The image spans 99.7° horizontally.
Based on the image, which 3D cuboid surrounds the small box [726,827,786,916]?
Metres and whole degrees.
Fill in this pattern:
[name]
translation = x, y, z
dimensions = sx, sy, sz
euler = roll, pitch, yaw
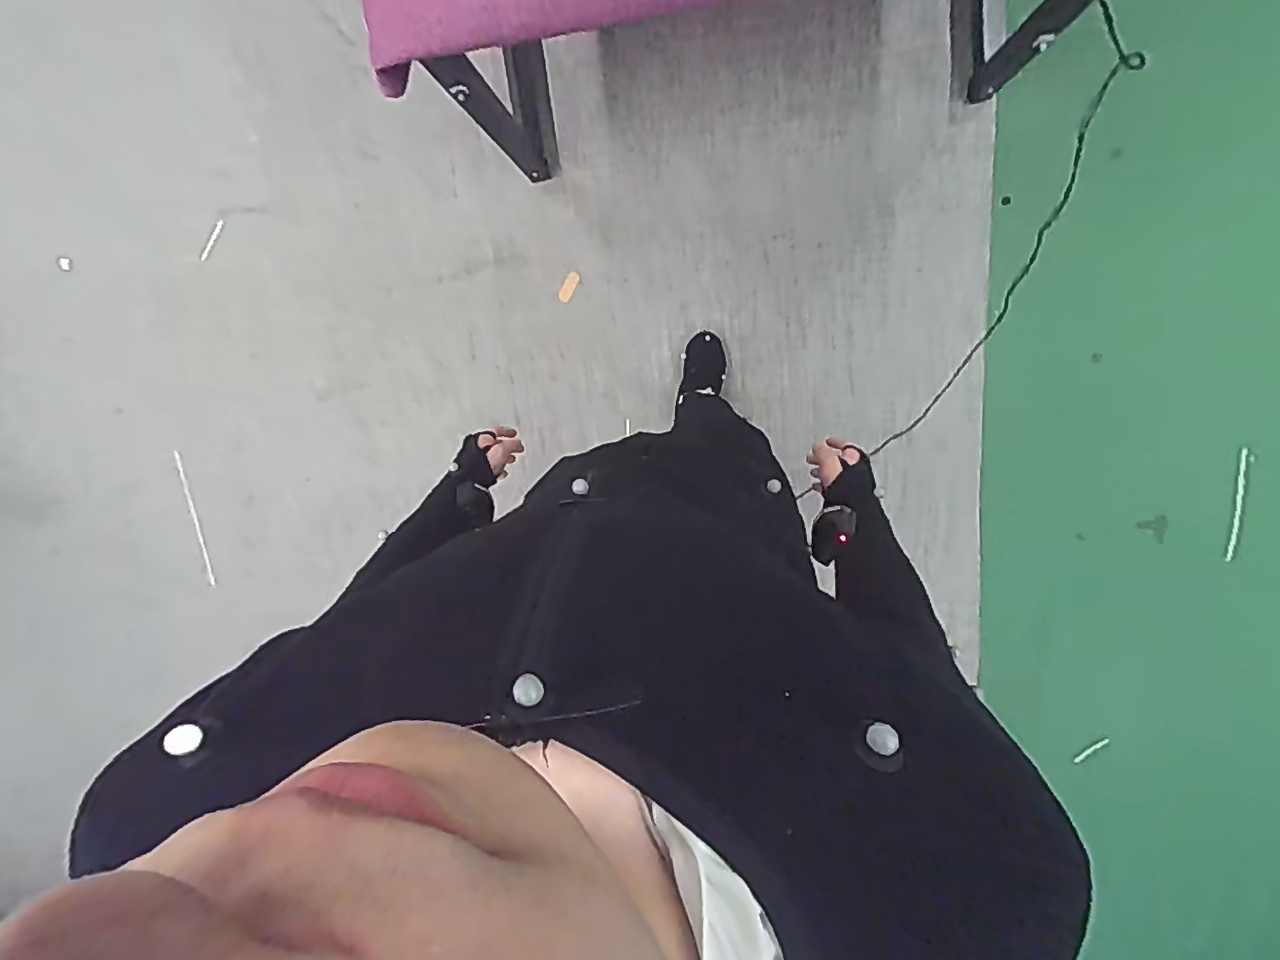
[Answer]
[small box]
translation = 0.379, 1.286, 1.785
dimensions = 0.179, 0.176, 0.168
euler = 2, 102, 8
